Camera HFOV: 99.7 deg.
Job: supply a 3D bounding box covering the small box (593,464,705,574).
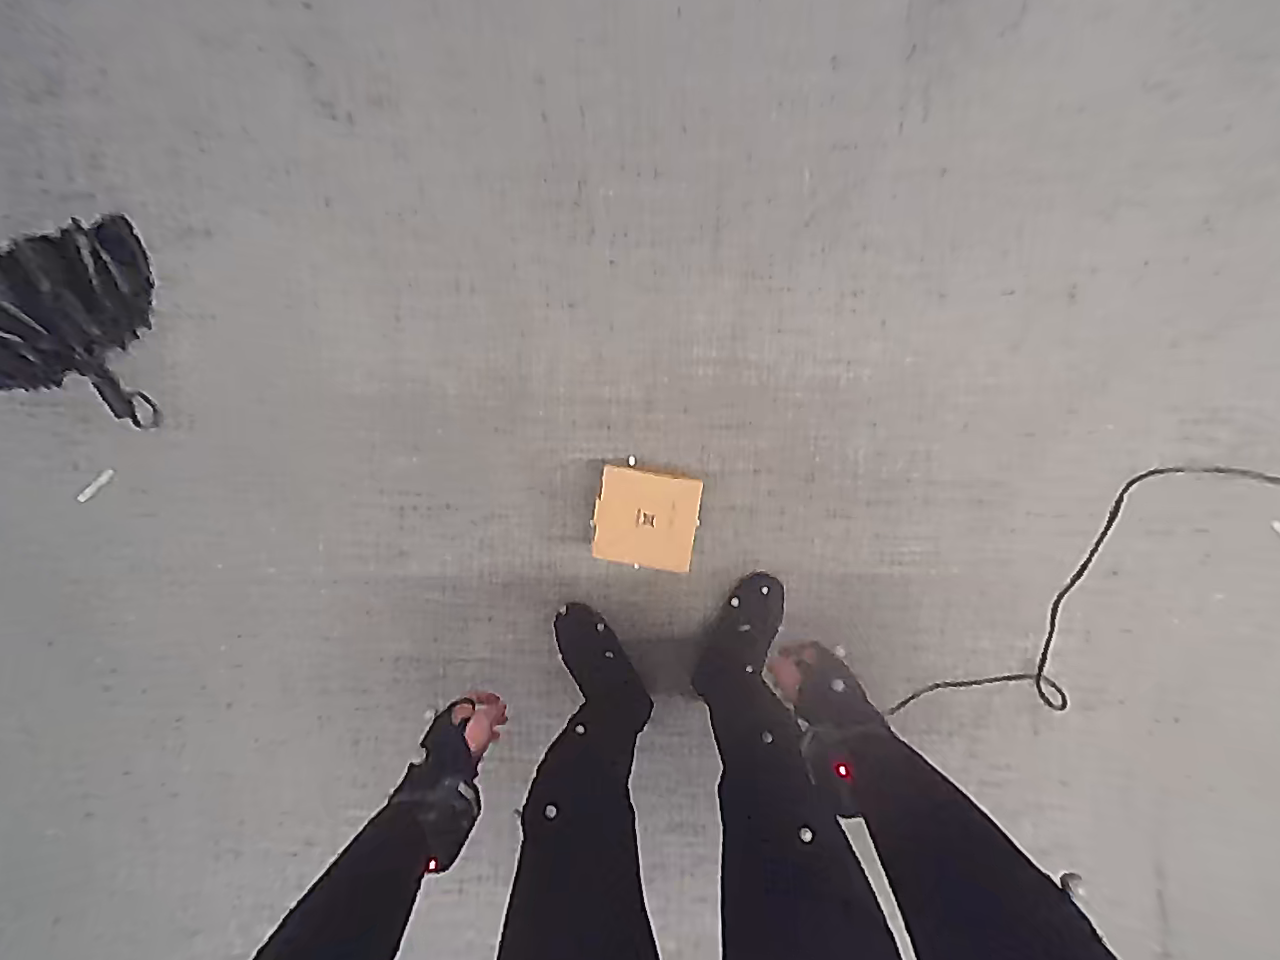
[{"bbox_3d":[0.017,0.064,1.015,0.179,0.176,0.168,8,96,0],"label":"small box"}]
